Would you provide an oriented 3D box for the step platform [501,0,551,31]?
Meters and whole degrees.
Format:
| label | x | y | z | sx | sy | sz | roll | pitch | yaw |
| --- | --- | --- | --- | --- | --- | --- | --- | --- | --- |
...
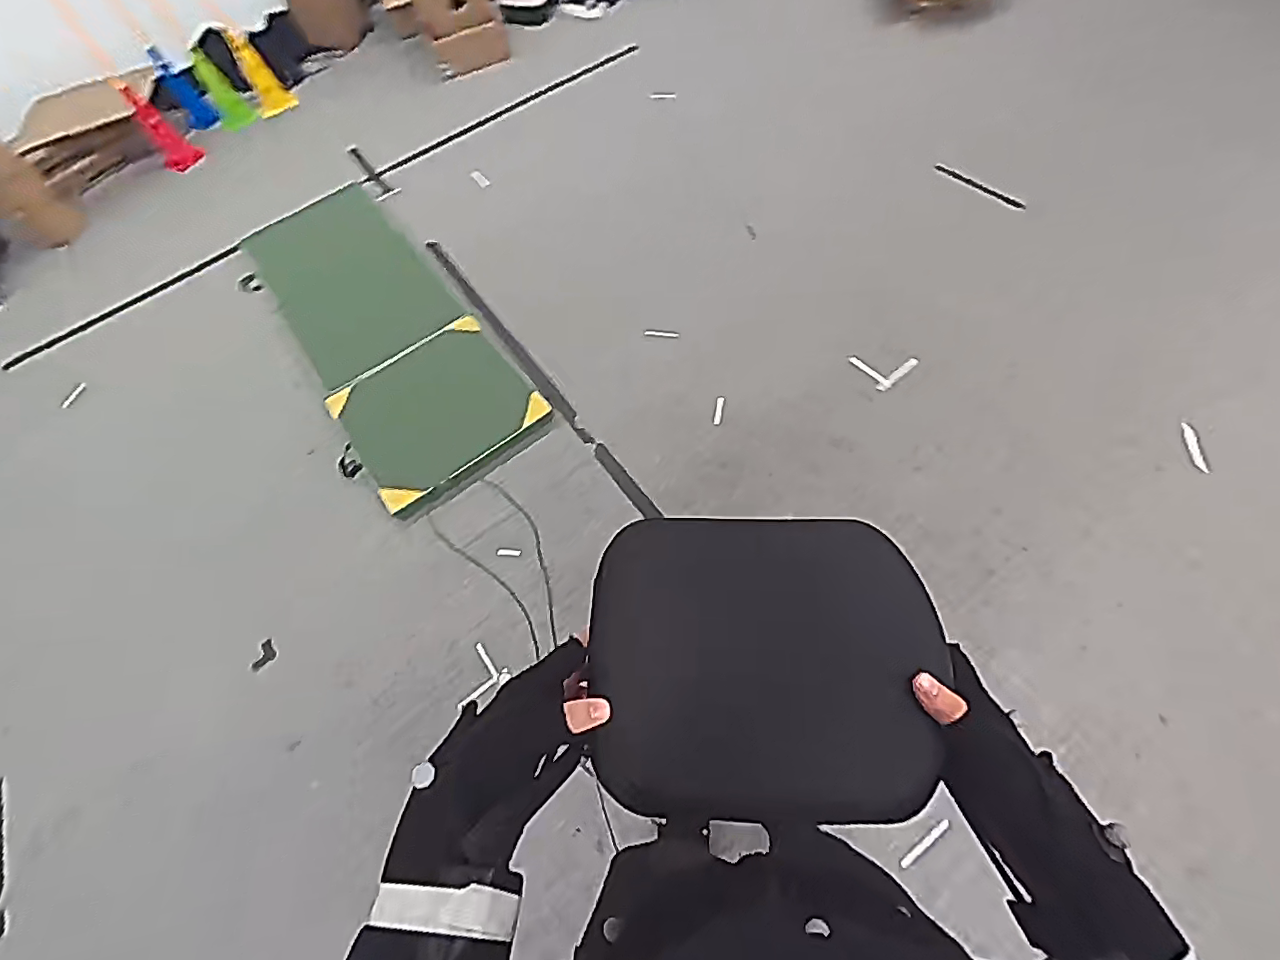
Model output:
| label | x | y | z | sx | sy | sz | roll | pitch | yaw |
| --- | --- | --- | --- | --- | --- | --- | --- | --- | --- |
| step platform | -0.570 | -3.030 | 3.311 | 0.286 | 0.204 | 0.684 | 19 | 66 | 17 |
